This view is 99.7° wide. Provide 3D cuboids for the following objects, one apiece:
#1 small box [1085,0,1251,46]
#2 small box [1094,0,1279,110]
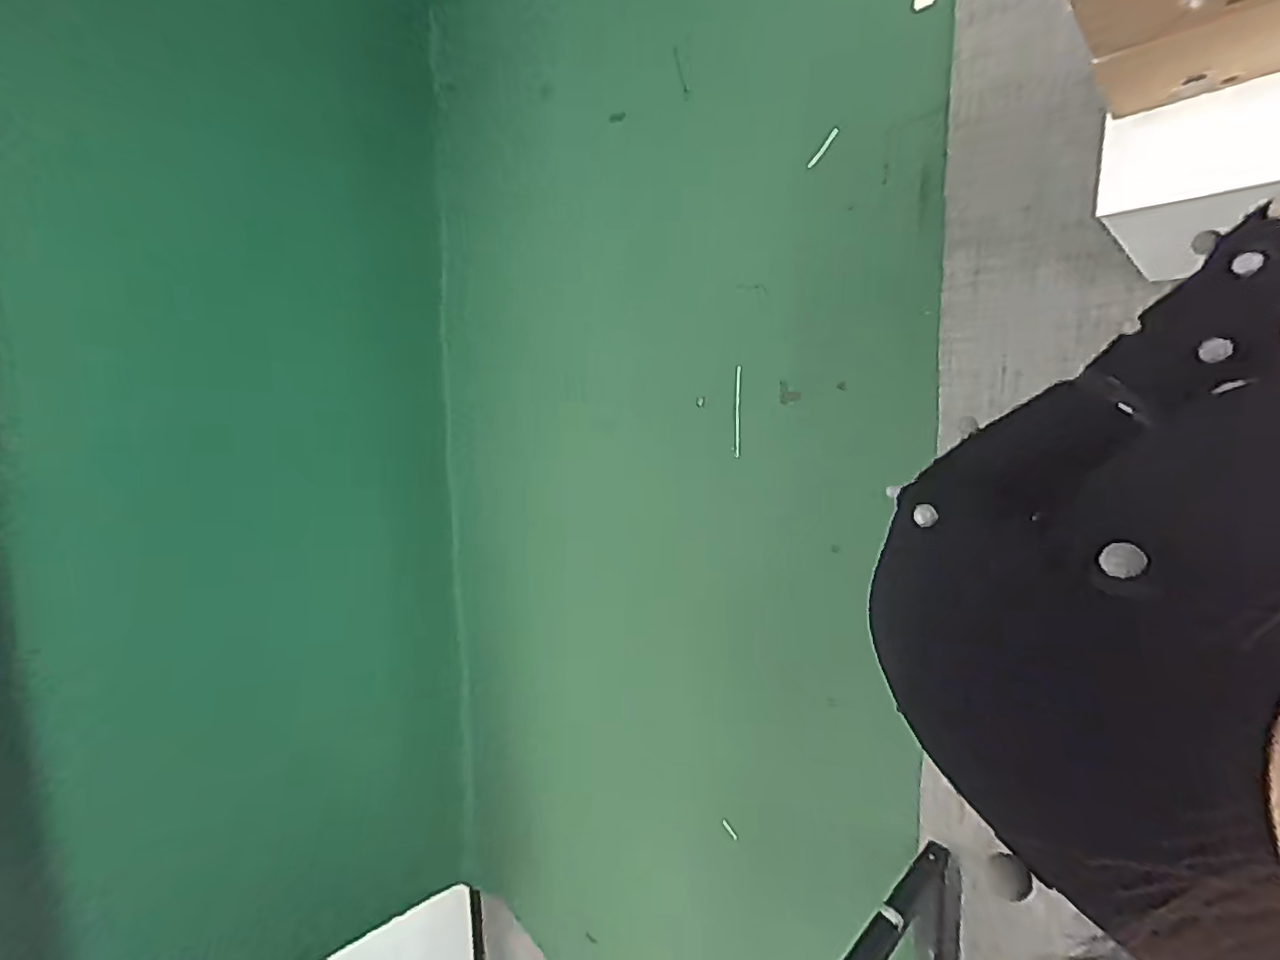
[{"bbox_3d":[0.482,-0.523,0.450,0.168,0.176,0.179,10,103,47],"label":"small box"},{"bbox_3d":[0.601,-0.534,0.564,0.168,0.176,0.179,9,102,47],"label":"small box"}]
